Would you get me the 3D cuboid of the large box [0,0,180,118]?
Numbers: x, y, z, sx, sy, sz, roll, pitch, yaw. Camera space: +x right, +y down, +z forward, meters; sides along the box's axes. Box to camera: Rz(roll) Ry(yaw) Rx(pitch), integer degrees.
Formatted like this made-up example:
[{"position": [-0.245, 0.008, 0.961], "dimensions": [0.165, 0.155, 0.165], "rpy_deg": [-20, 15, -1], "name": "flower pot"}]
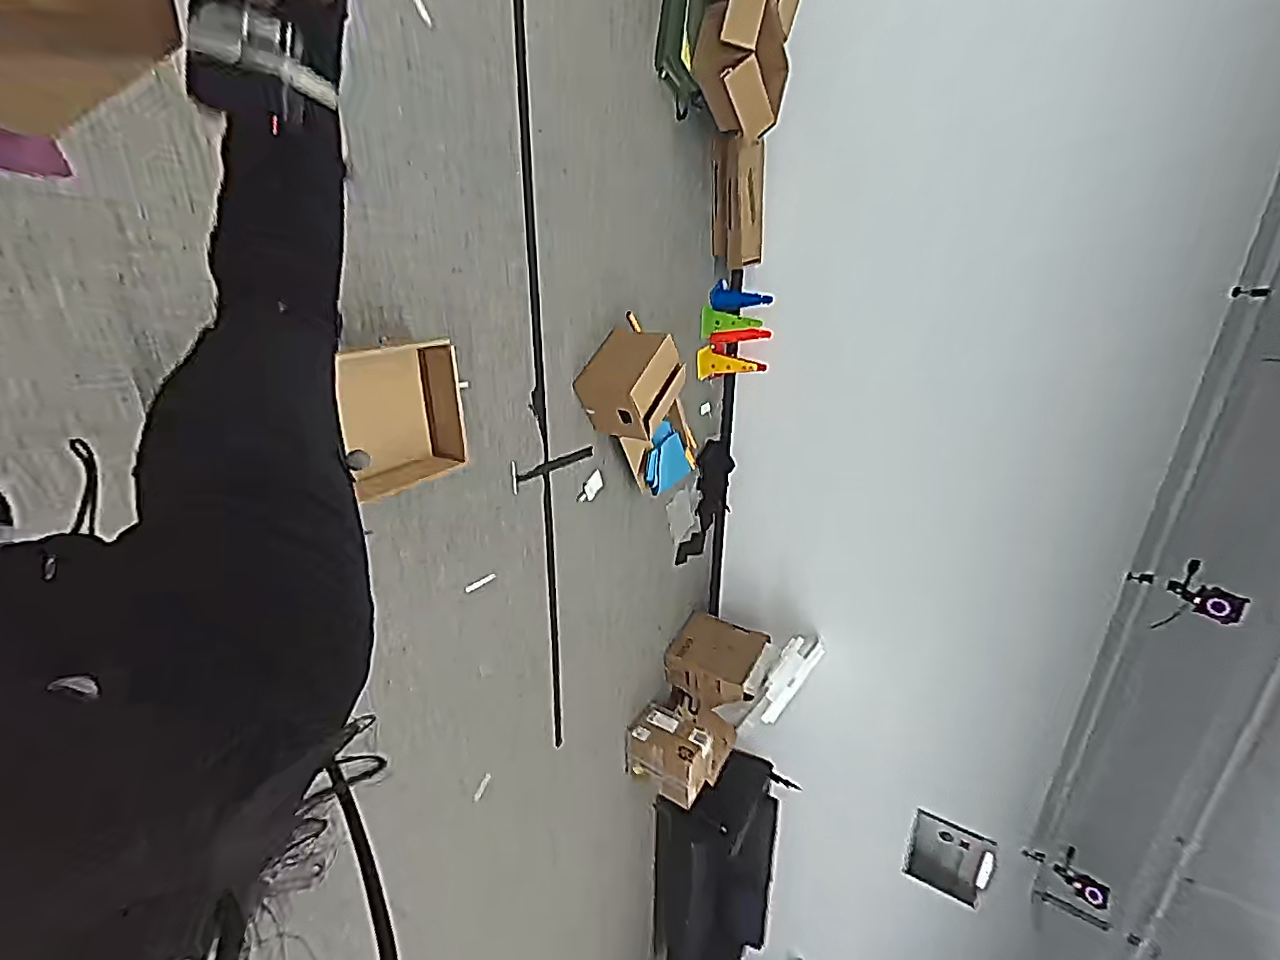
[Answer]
[{"position": [-0.537, -0.402, 0.225], "dimensions": [0.408, 0.320, 0.320], "rpy_deg": [-28, 122, -54], "name": "large box"}]
